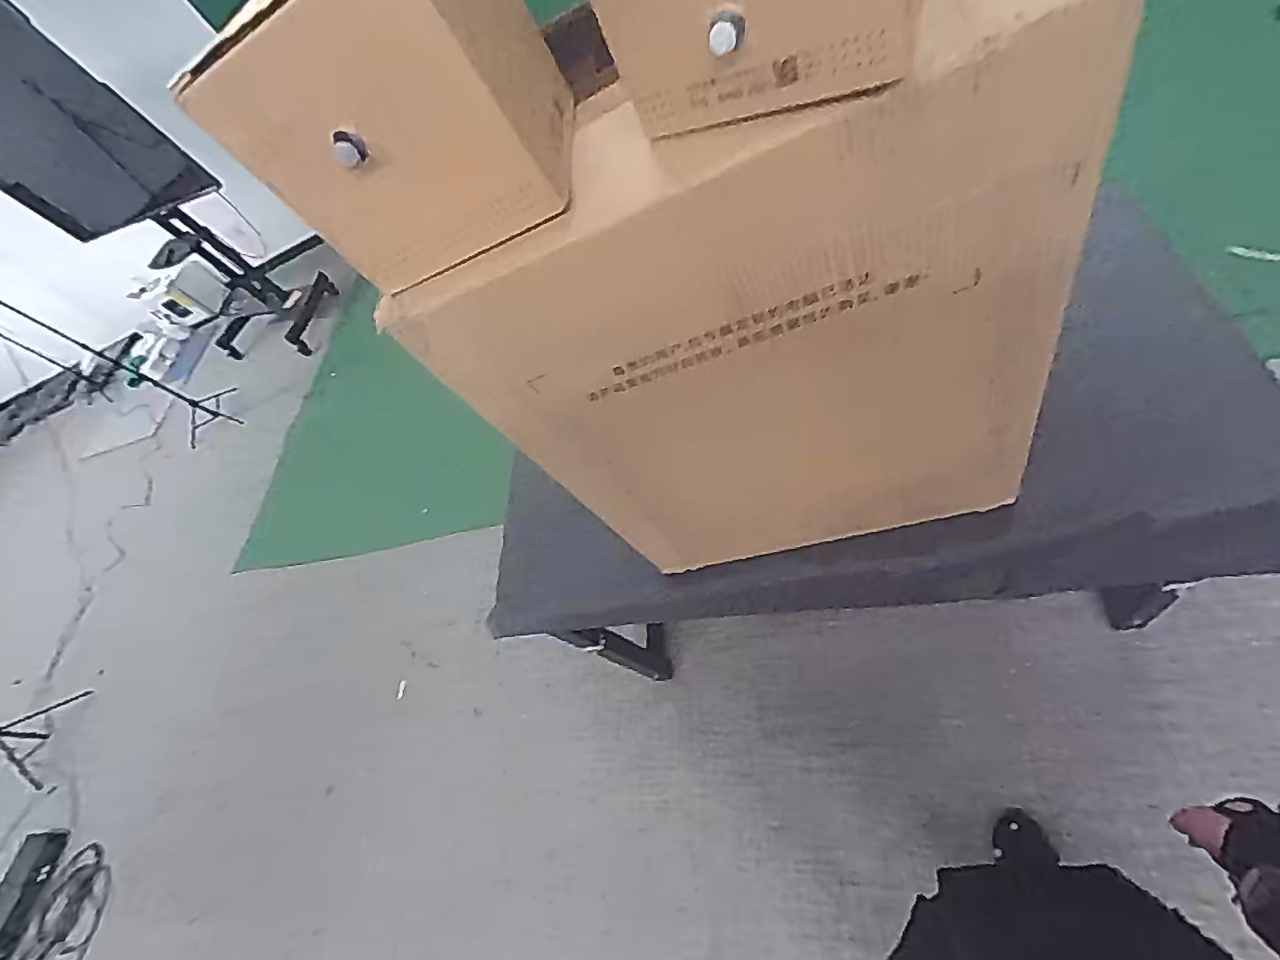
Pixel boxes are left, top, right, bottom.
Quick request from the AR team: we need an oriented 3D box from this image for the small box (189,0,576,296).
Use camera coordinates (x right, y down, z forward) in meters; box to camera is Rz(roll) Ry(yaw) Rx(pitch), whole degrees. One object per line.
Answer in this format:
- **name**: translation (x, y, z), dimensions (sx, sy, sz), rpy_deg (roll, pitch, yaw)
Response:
- **small box**: translation (-0.168, -0.272, 0.404), dimensions (0.179, 0.176, 0.168), rpy_deg (-17, 57, 22)

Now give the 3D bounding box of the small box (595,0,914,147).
- **small box**: translation (0.066, -0.338, 0.313), dimensions (0.168, 0.176, 0.179), rpy_deg (7, 67, 31)
